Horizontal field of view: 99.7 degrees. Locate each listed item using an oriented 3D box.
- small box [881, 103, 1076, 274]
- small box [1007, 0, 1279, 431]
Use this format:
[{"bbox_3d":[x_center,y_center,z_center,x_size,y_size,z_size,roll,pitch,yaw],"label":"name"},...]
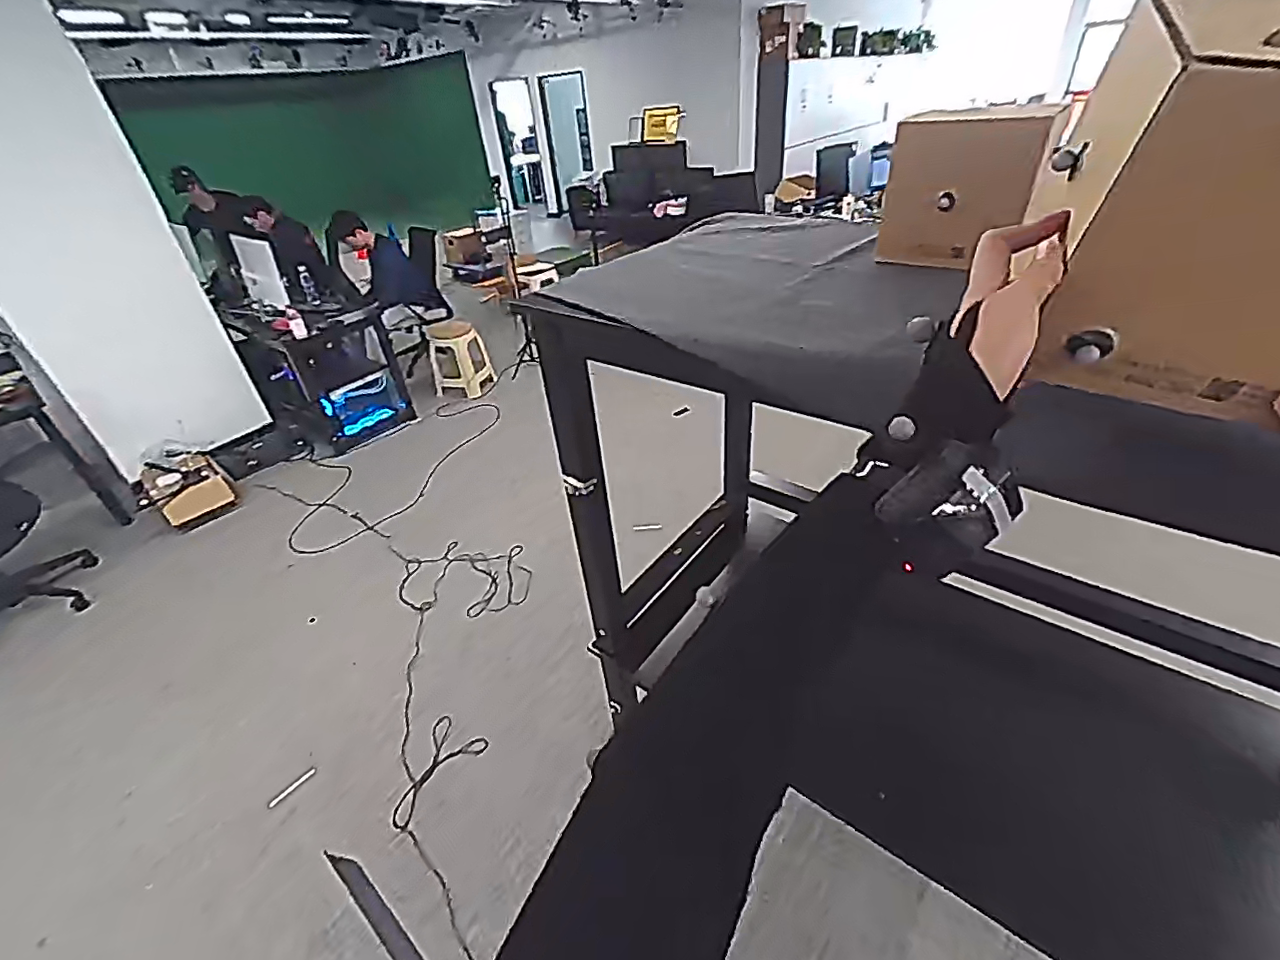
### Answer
[{"bbox_3d":[0.436,-0.383,0.714,0.168,0.176,0.179,22,44,32],"label":"small box"},{"bbox_3d":[0.340,-0.153,0.310,0.168,0.176,0.179,18,53,17],"label":"small box"}]
